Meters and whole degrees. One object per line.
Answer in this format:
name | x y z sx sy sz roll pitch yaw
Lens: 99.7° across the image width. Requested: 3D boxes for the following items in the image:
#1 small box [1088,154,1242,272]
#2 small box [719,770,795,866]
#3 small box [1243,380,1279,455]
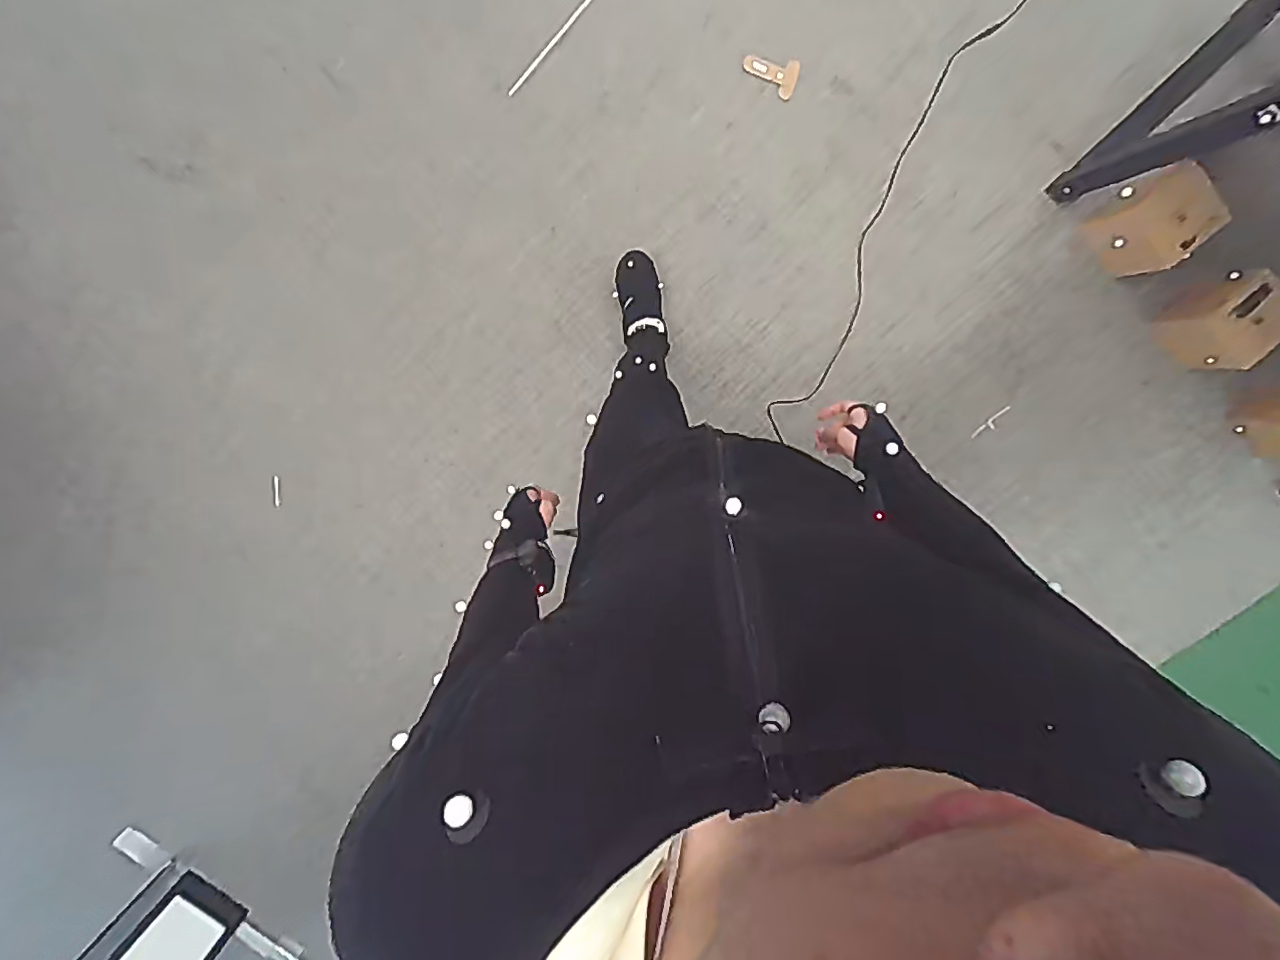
small box | 1.249 -0.629 1.303 0.168 0.176 0.179 -41 98 11
small box | 0.376 1.104 1.778 0.168 0.176 0.179 44 103 -9
small box | 1.745 -0.163 1.399 0.168 0.176 0.179 42 101 -8
